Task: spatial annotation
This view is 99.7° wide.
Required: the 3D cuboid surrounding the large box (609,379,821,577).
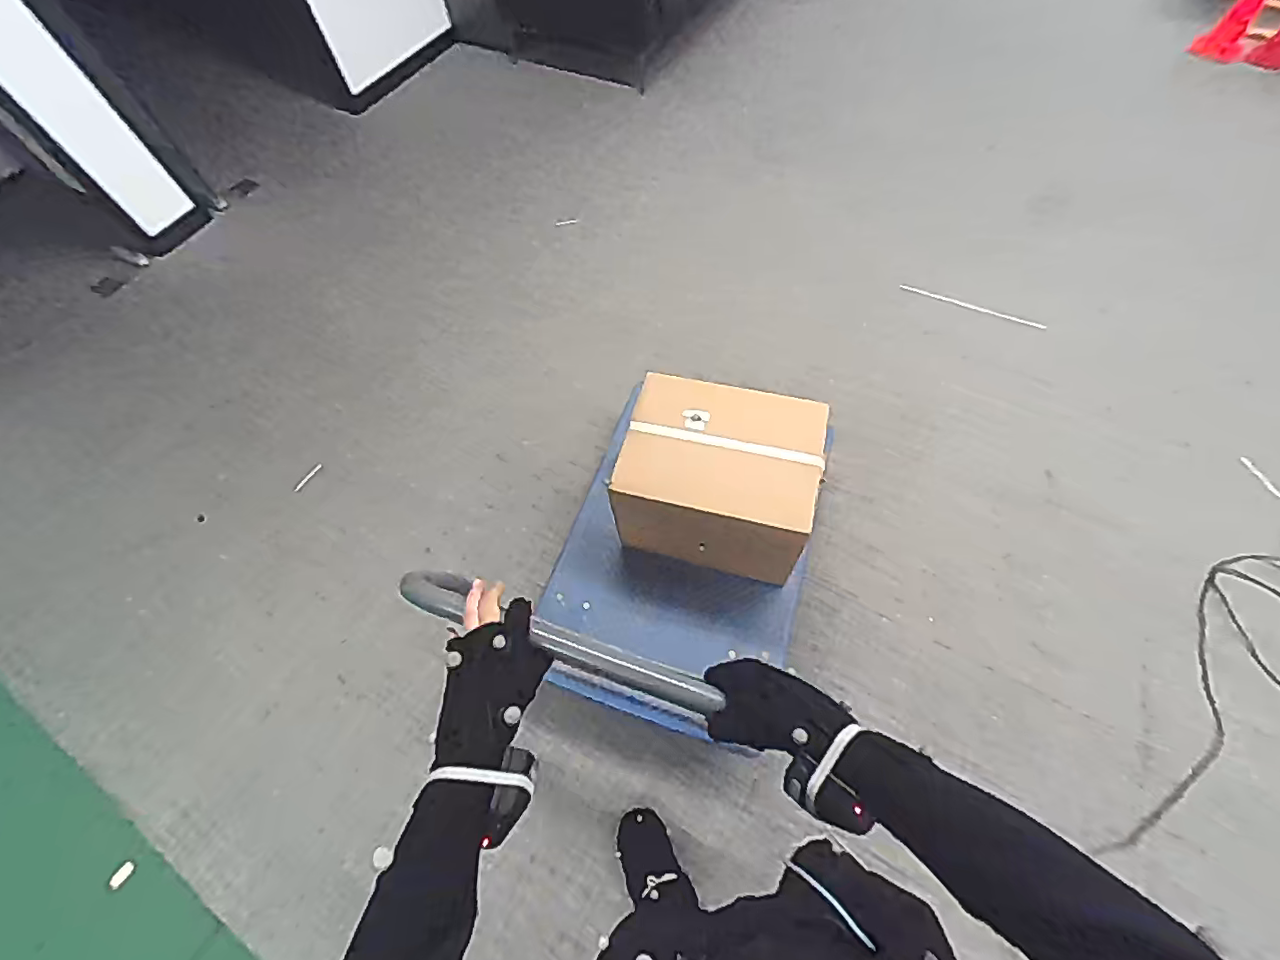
[{"bbox_3d":[0.179,0.003,1.262,0.408,0.320,0.320,11,63,12],"label":"large box"}]
